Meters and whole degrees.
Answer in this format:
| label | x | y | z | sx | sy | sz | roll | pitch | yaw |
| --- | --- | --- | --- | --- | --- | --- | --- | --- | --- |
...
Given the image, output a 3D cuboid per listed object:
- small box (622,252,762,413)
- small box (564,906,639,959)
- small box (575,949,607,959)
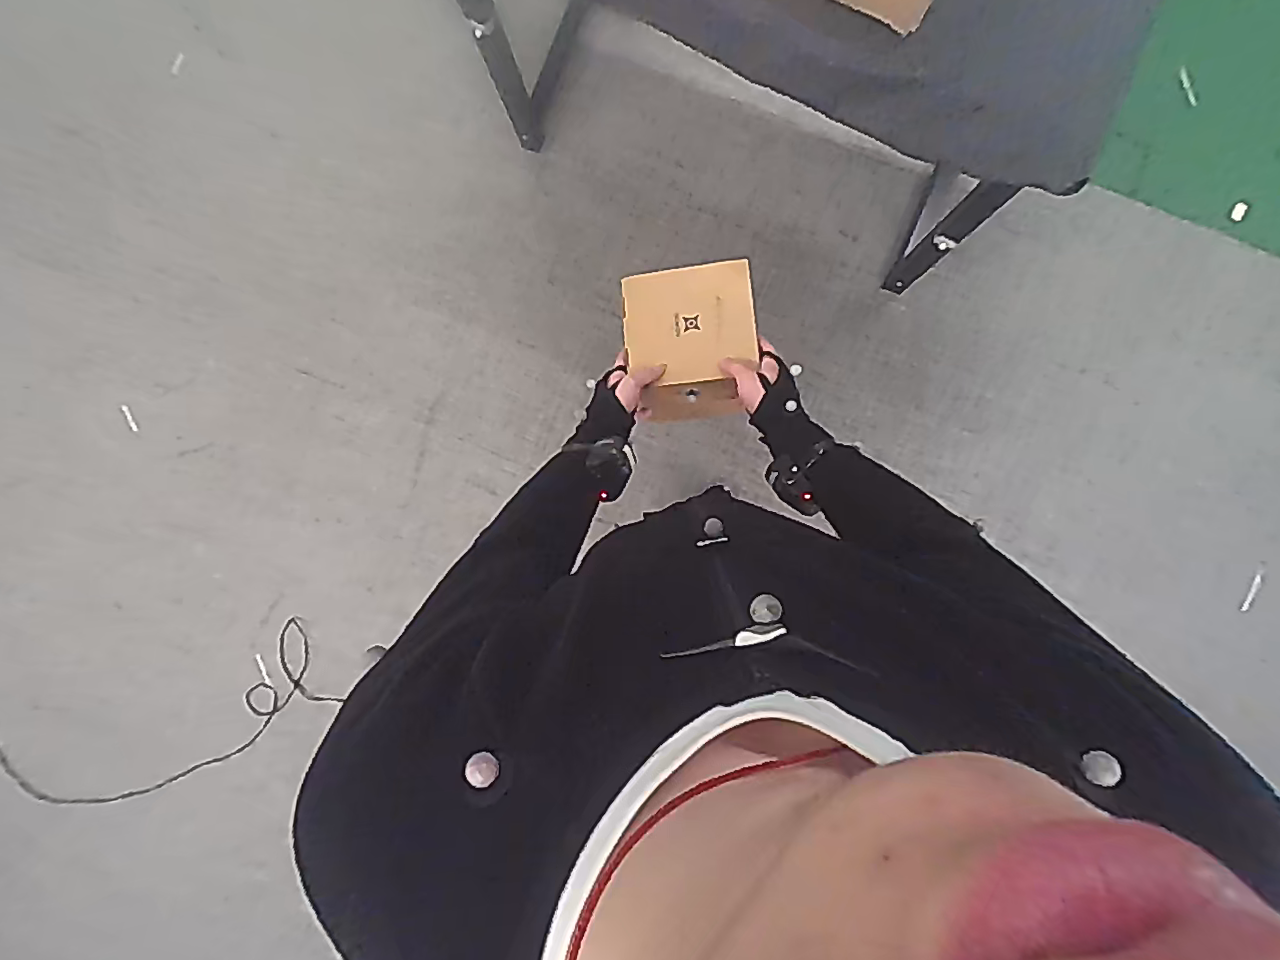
| label | x | y | z | sx | sy | sz | roll | pitch | yaw |
| --- | --- | --- | --- | --- | --- | --- | --- | --- | --- |
| small box | 0.078 | -0.205 | 0.801 | 0.179 | 0.176 | 0.168 | -6 | 81 | 6 |
| small box | -0.114 | 1.341 | 1.499 | 0.179 | 0.176 | 0.168 | 24 | 92 | 3 |
| small box | -0.120 | 1.335 | 1.334 | 0.168 | 0.176 | 0.179 | 23 | 91 | 2 |
